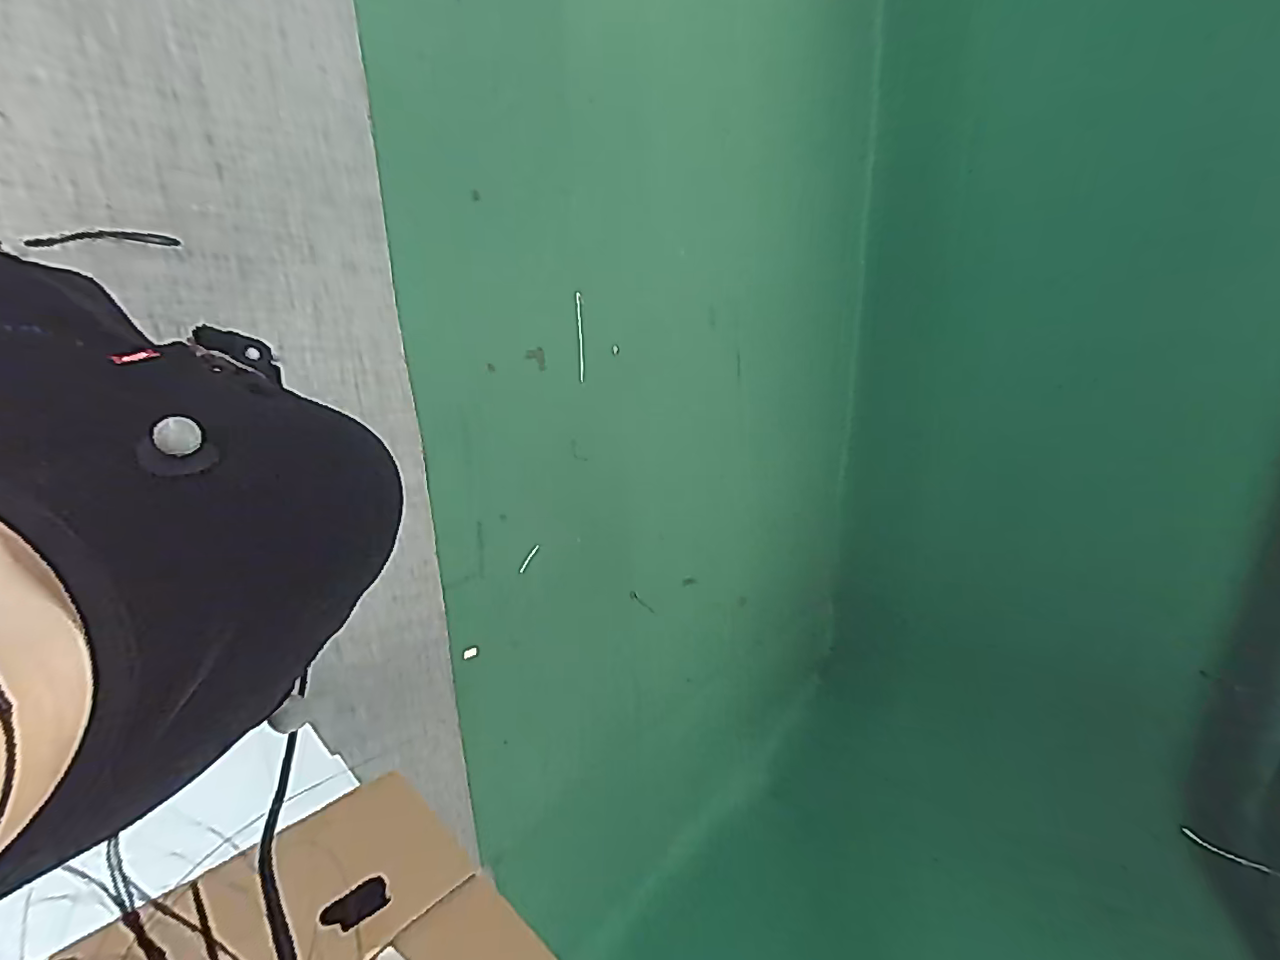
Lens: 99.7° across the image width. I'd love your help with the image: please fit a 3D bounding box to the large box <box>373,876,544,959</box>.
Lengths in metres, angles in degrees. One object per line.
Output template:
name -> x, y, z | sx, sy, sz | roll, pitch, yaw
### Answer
large box -> -0.247, 0.848, 0.688 | 0.320, 0.320, 0.408 | -18, 114, -46
